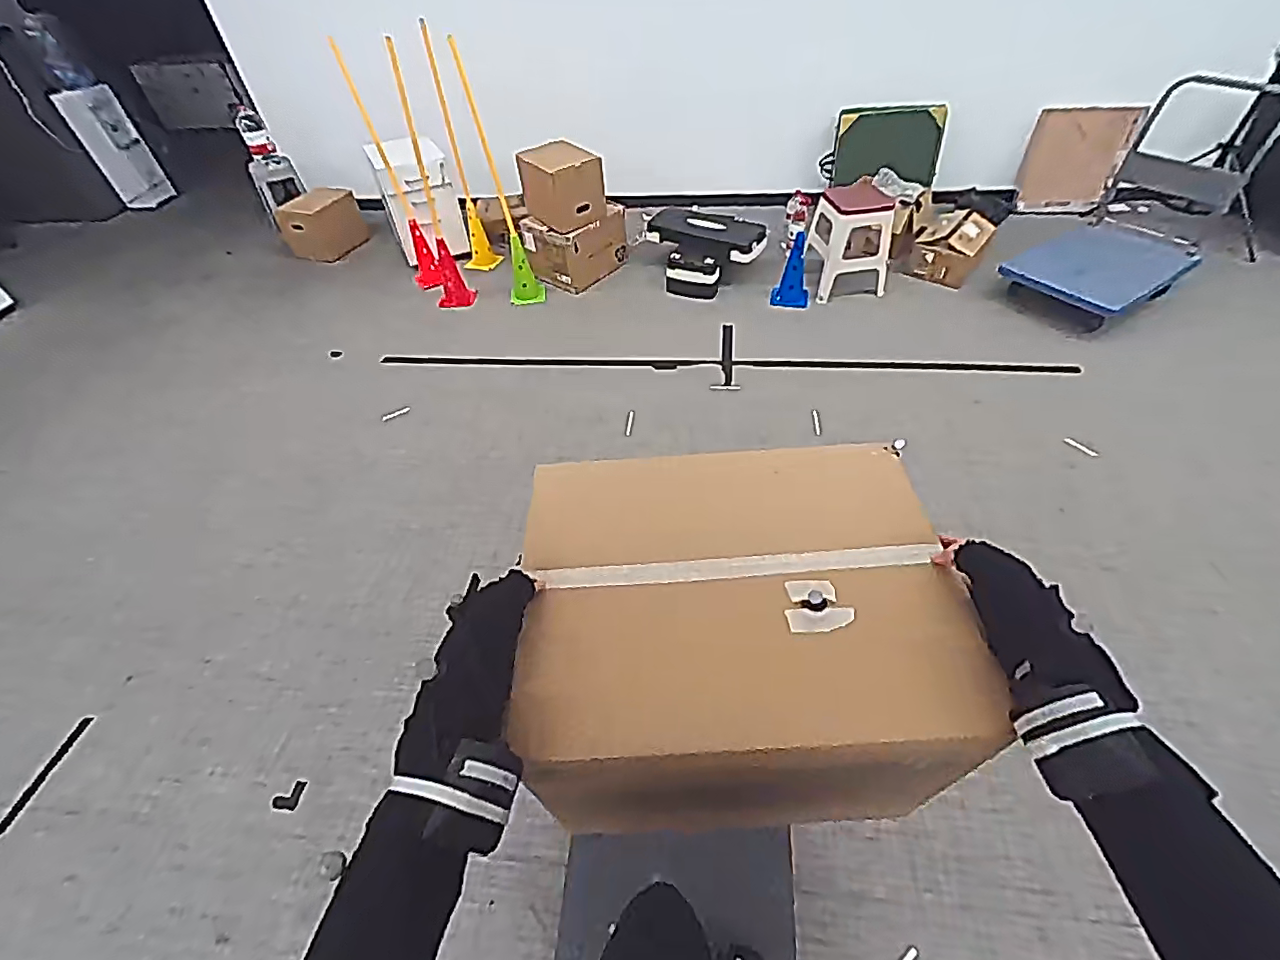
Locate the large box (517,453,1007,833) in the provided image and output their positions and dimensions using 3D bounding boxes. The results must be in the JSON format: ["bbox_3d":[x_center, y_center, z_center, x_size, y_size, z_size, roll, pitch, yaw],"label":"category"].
[{"bbox_3d":[0.097,0.195,0.638,0.408,0.320,0.320,-4,48,1],"label":"large box"}]
